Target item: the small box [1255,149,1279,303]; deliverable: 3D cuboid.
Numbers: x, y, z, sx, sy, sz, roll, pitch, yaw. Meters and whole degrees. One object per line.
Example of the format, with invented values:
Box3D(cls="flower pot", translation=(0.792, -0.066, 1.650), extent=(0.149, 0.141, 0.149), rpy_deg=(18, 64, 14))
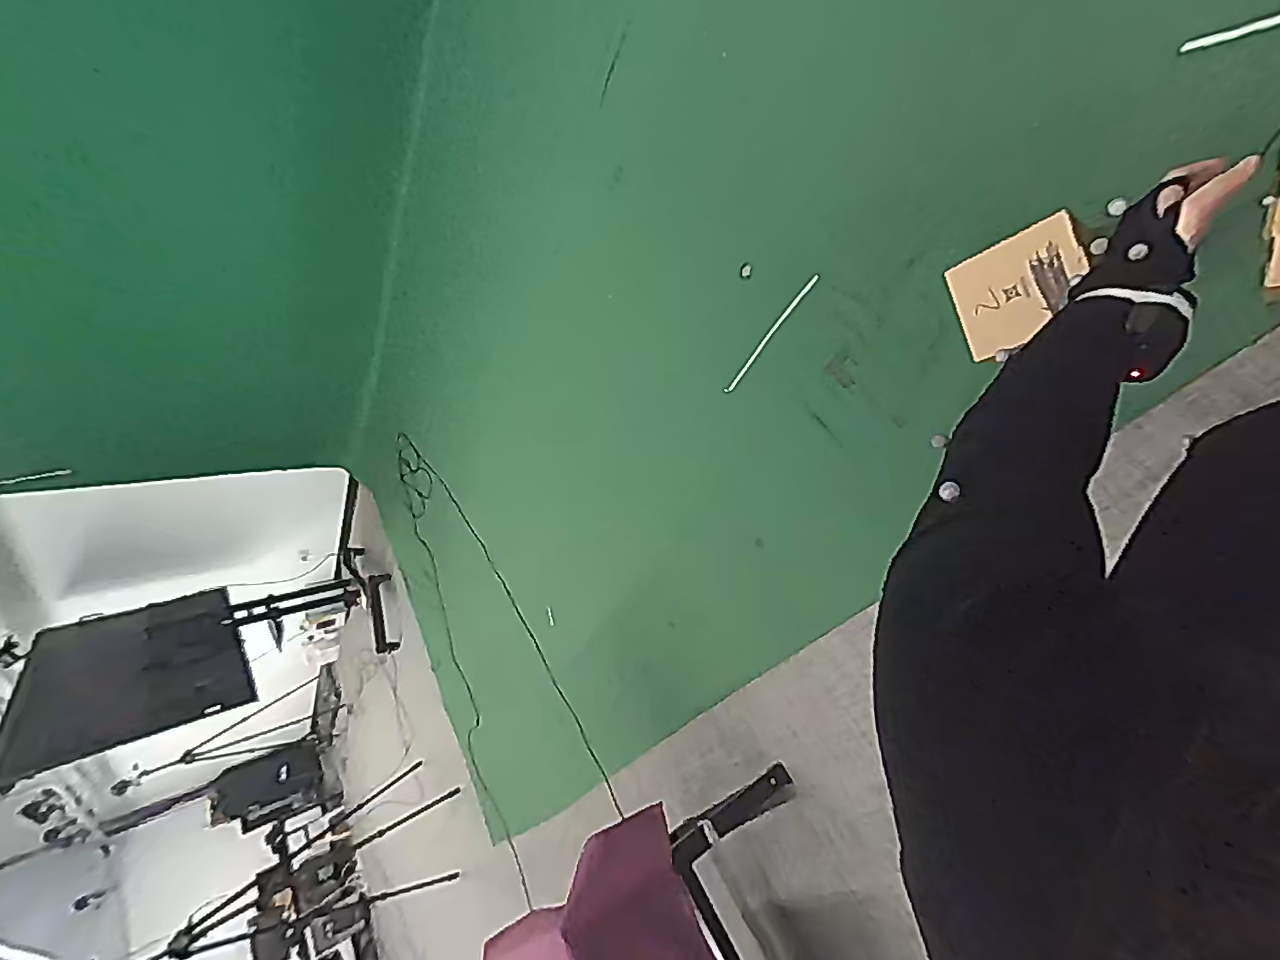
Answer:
Box3D(cls="small box", translation=(0.871, -0.311, 0.639), extent=(0.179, 0.176, 0.168), rpy_deg=(9, 103, 47))
